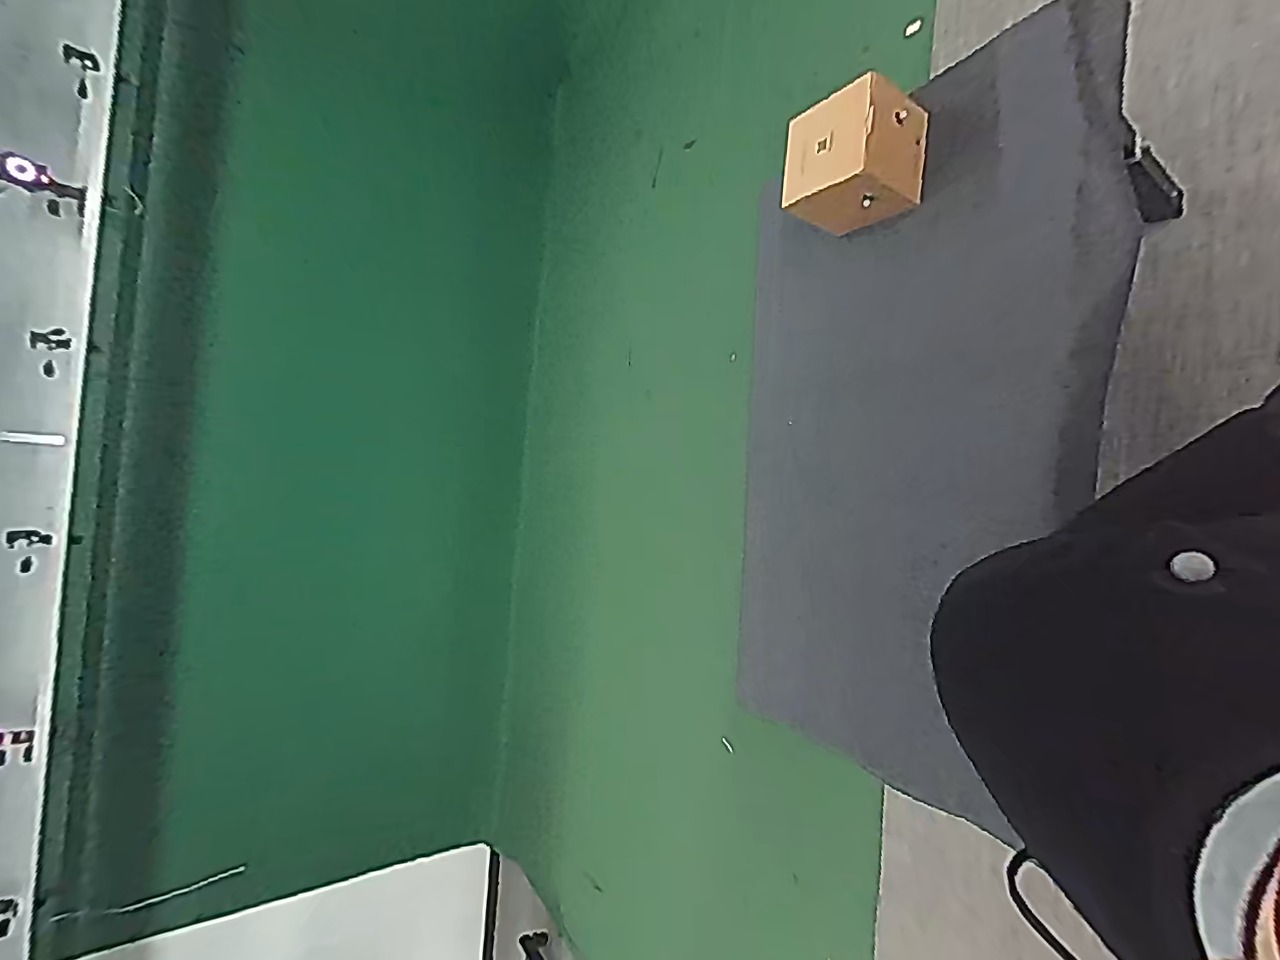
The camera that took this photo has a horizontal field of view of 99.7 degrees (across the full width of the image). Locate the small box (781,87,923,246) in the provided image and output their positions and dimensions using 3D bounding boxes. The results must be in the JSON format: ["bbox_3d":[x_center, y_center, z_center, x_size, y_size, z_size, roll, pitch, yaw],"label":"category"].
[{"bbox_3d":[0.388,-0.556,0.988,0.179,0.176,0.168,5,87,57],"label":"small box"}]
